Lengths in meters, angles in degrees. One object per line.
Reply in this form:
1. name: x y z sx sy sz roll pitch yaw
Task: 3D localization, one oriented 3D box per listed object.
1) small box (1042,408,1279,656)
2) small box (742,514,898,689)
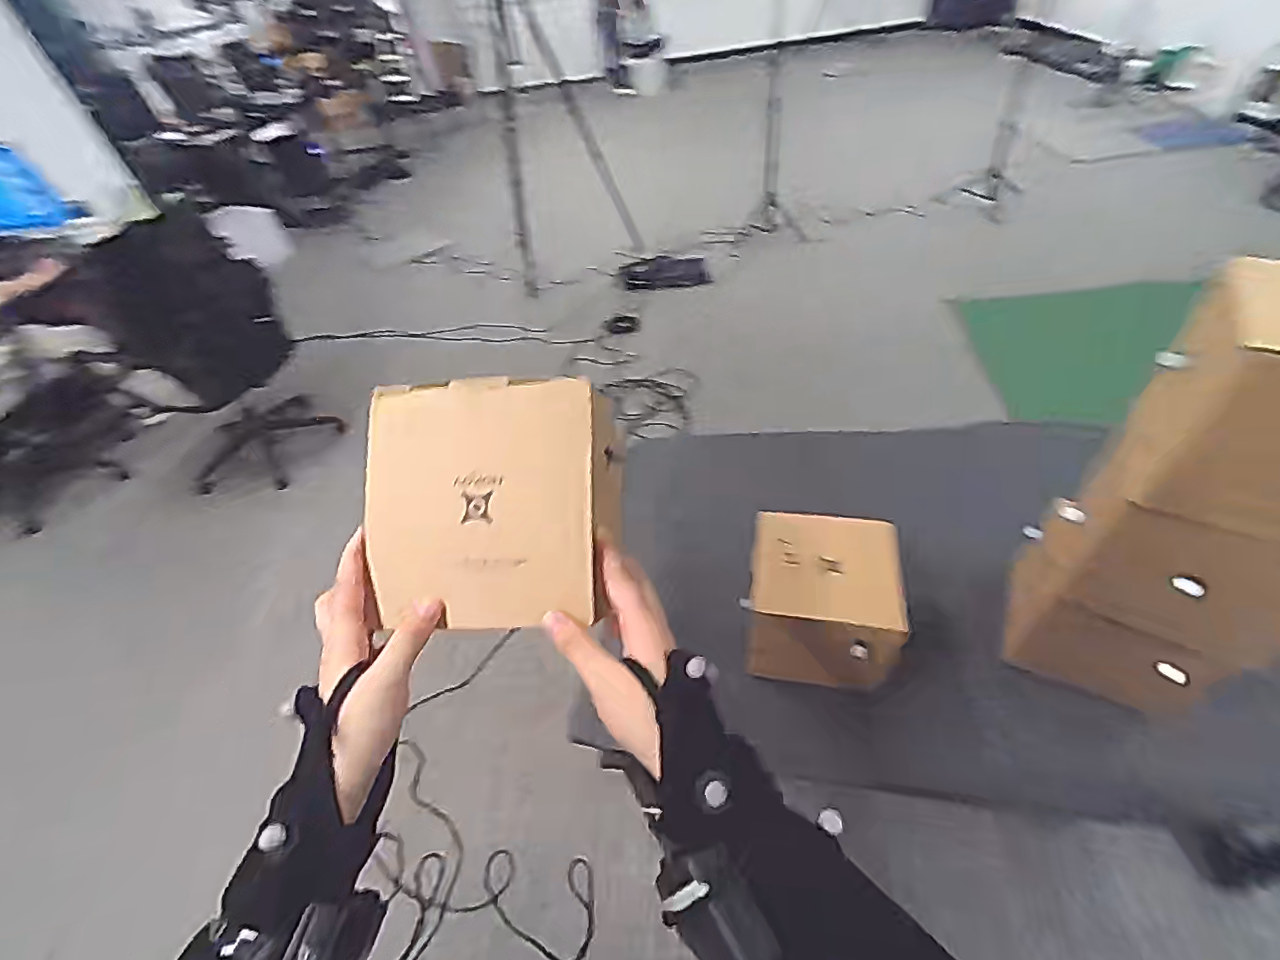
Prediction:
1. small box: 0.566 0.056 0.564 0.179 0.176 0.168 22 53 28
2. small box: 0.237 0.169 0.744 0.179 0.176 0.168 4 45 14
